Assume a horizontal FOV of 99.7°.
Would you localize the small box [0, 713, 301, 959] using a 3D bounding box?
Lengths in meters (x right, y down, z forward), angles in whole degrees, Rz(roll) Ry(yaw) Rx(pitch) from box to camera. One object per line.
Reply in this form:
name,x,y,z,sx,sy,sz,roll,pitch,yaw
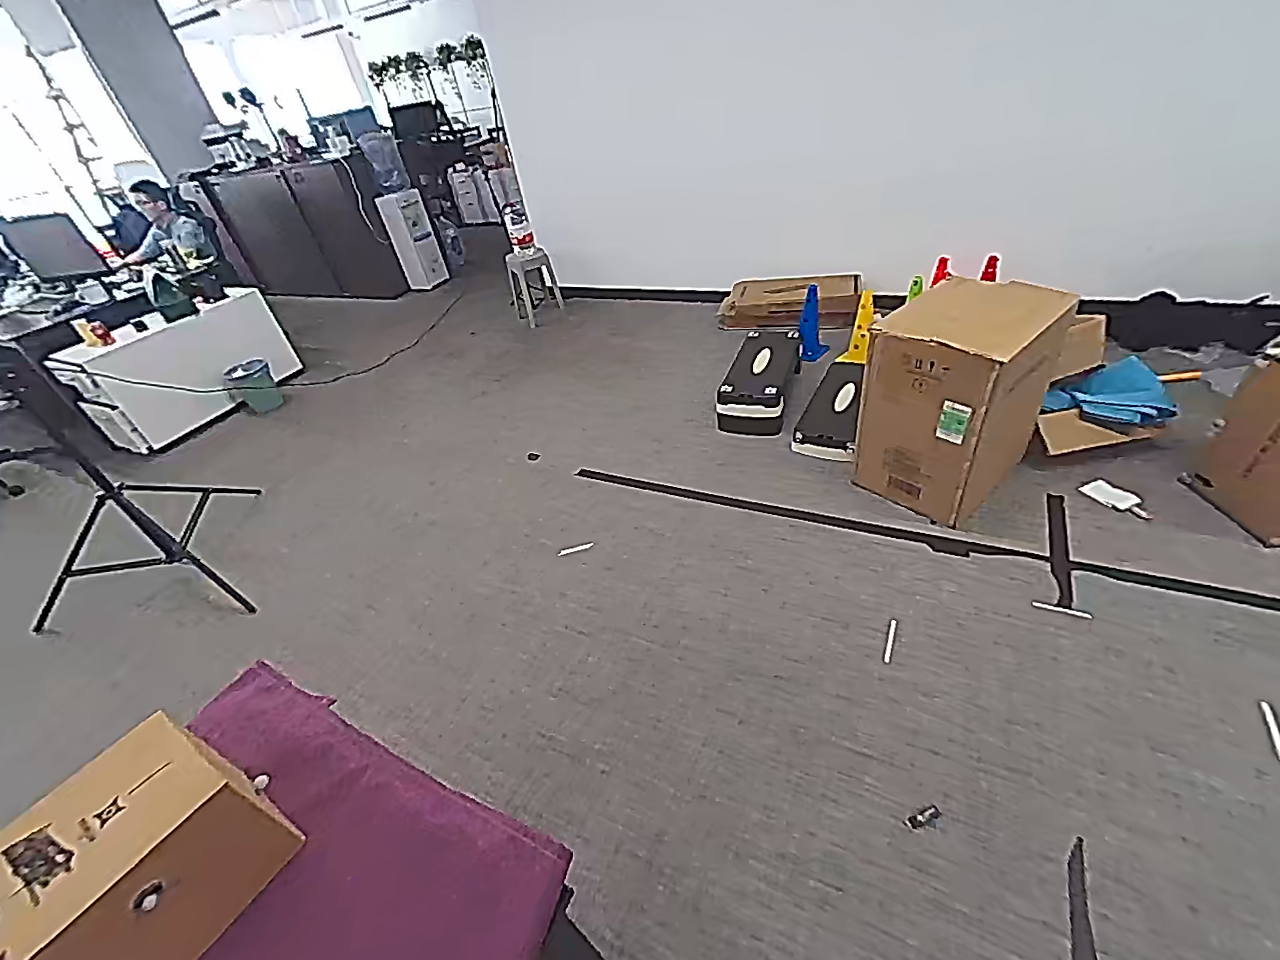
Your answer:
small box,-0.523,0.404,0.588,0.168,0.176,0.179,17,44,29
